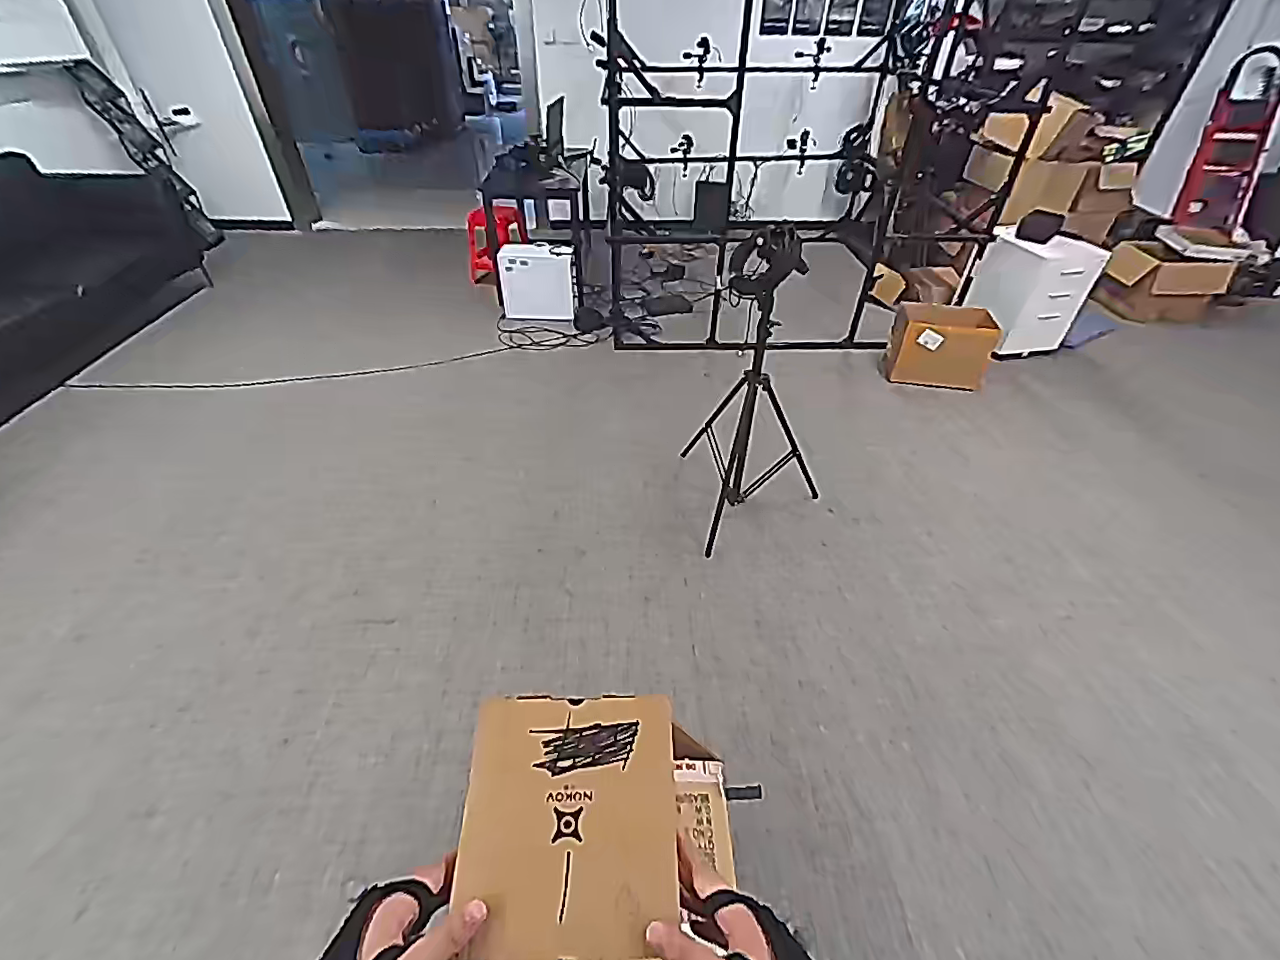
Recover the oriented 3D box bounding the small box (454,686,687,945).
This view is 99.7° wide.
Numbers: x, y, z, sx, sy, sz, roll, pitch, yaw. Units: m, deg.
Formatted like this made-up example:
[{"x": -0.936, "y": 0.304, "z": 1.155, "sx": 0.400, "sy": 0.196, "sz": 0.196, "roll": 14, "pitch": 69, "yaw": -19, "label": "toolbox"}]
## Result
[{"x": -0.051, "y": 0.302, "z": 0.488, "sx": 0.168, "sy": 0.176, "sz": 0.179, "roll": 0, "pitch": 52, "yaw": -2, "label": "small box"}]
